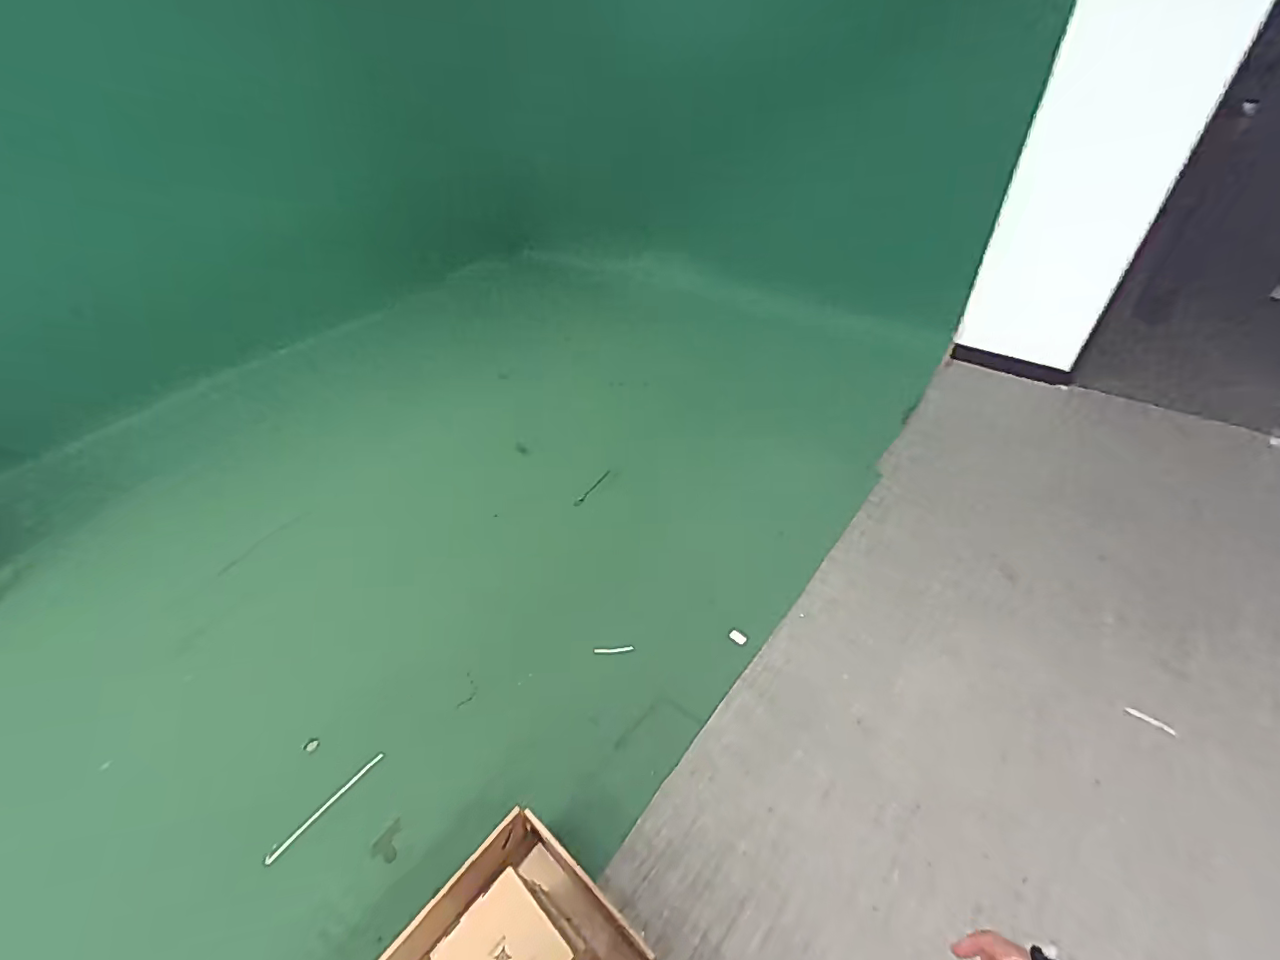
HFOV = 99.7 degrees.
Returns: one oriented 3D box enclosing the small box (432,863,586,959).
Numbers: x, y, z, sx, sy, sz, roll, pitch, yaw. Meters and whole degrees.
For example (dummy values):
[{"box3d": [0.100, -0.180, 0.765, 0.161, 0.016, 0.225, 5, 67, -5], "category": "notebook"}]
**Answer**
[{"box3d": [-0.212, 0.801, 0.909, 0.179, 0.176, 0.168, 32, 56, 30], "category": "small box"}]
